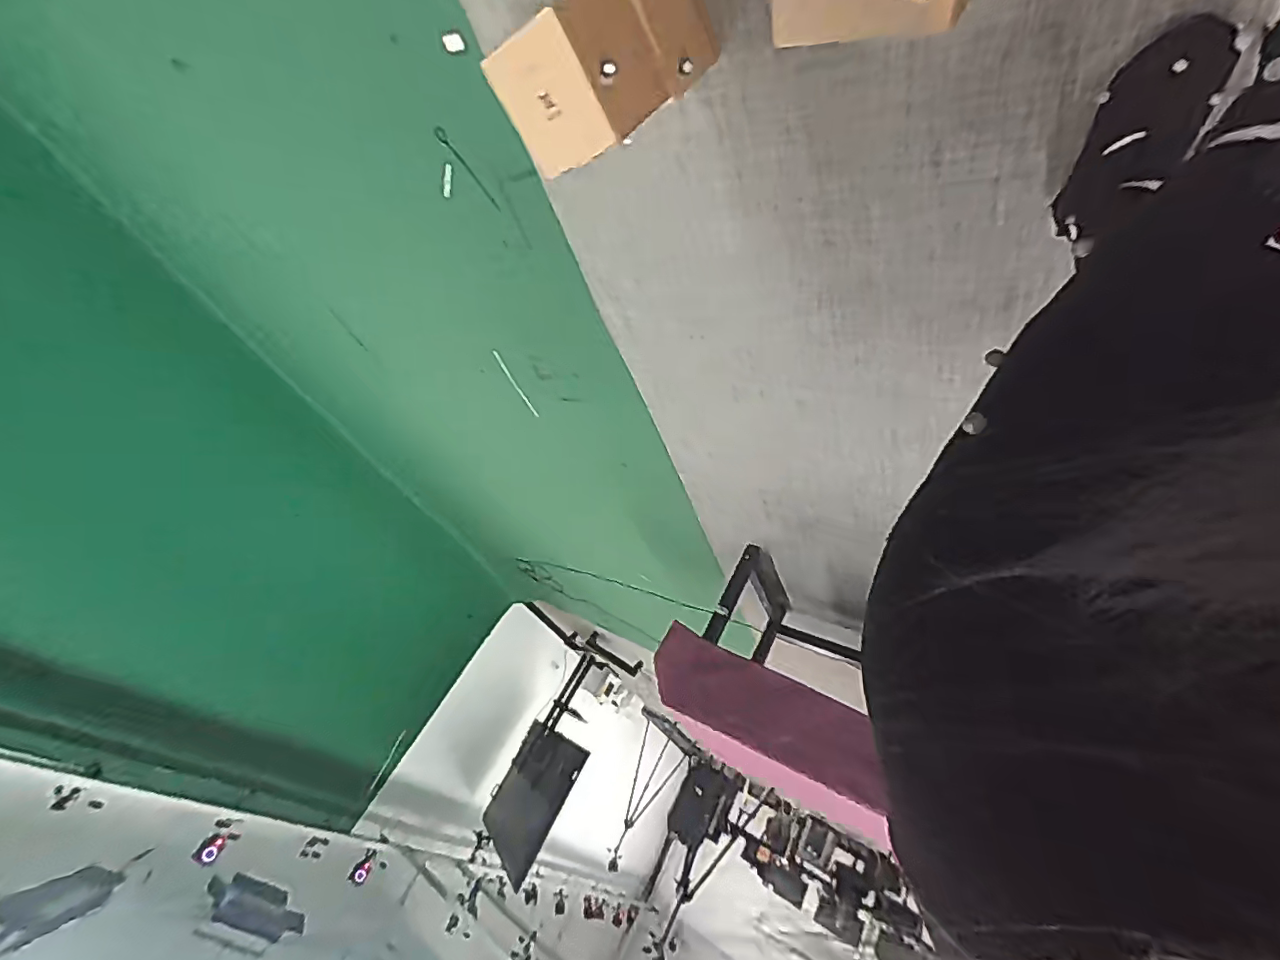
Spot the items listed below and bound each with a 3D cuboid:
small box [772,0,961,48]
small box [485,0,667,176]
[{"bbox_3d":[0.239,-0.556,0.522,0.179,0.176,0.168,20,152,28],"label":"small box"},{"bbox_3d":[-0.086,-0.604,0.812,0.168,0.176,0.179,6,143,42],"label":"small box"}]
